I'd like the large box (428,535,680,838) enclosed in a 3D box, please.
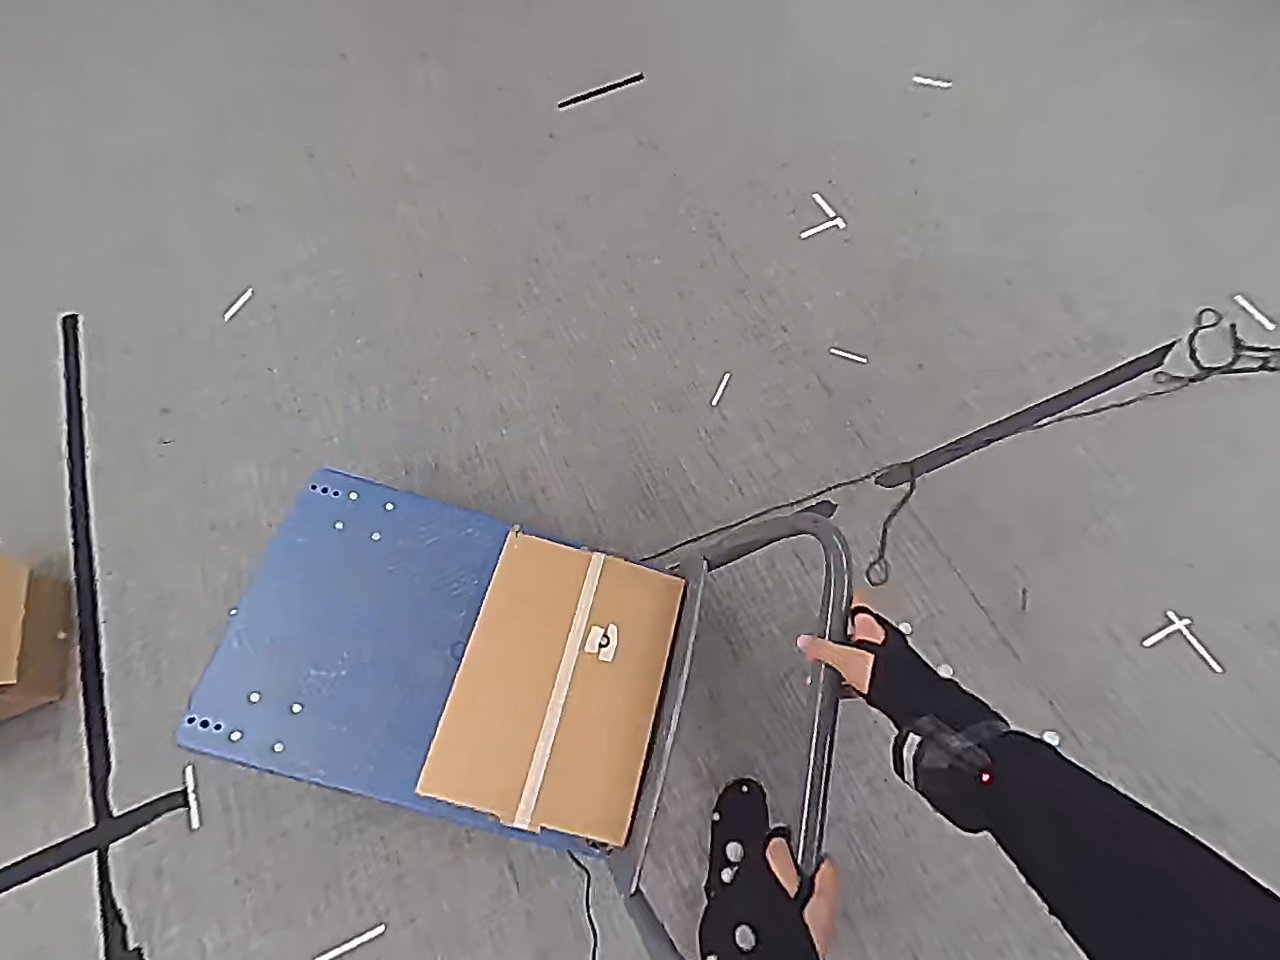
[{"bbox_3d":[-0.141,0.364,0.994,0.320,0.320,0.408,16,68,-4],"label":"large box"}]
